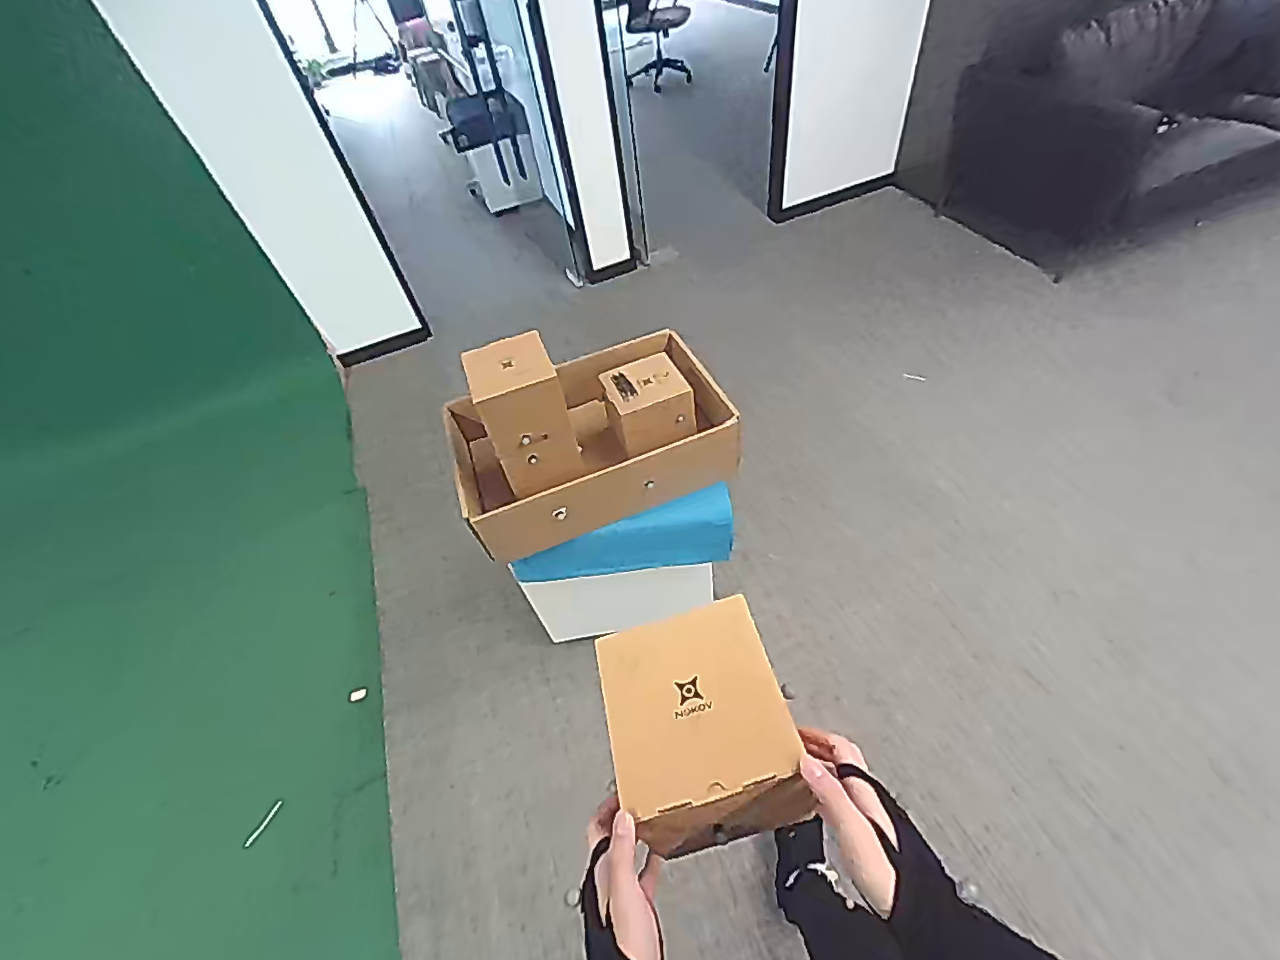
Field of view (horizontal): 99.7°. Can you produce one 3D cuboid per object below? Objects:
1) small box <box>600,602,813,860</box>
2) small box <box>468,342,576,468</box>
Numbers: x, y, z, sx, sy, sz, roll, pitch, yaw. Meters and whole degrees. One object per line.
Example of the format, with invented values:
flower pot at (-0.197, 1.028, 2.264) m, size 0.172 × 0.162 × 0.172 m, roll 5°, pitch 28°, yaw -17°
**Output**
small box at (0.066, 0.262, 0.563) m, size 0.168 × 0.176 × 0.179 m, roll -17°, pitch 45°, yaw 2°
small box at (-0.246, -0.156, 1.132) m, size 0.168 × 0.176 × 0.179 m, roll -20°, pitch 48°, yaw -8°
